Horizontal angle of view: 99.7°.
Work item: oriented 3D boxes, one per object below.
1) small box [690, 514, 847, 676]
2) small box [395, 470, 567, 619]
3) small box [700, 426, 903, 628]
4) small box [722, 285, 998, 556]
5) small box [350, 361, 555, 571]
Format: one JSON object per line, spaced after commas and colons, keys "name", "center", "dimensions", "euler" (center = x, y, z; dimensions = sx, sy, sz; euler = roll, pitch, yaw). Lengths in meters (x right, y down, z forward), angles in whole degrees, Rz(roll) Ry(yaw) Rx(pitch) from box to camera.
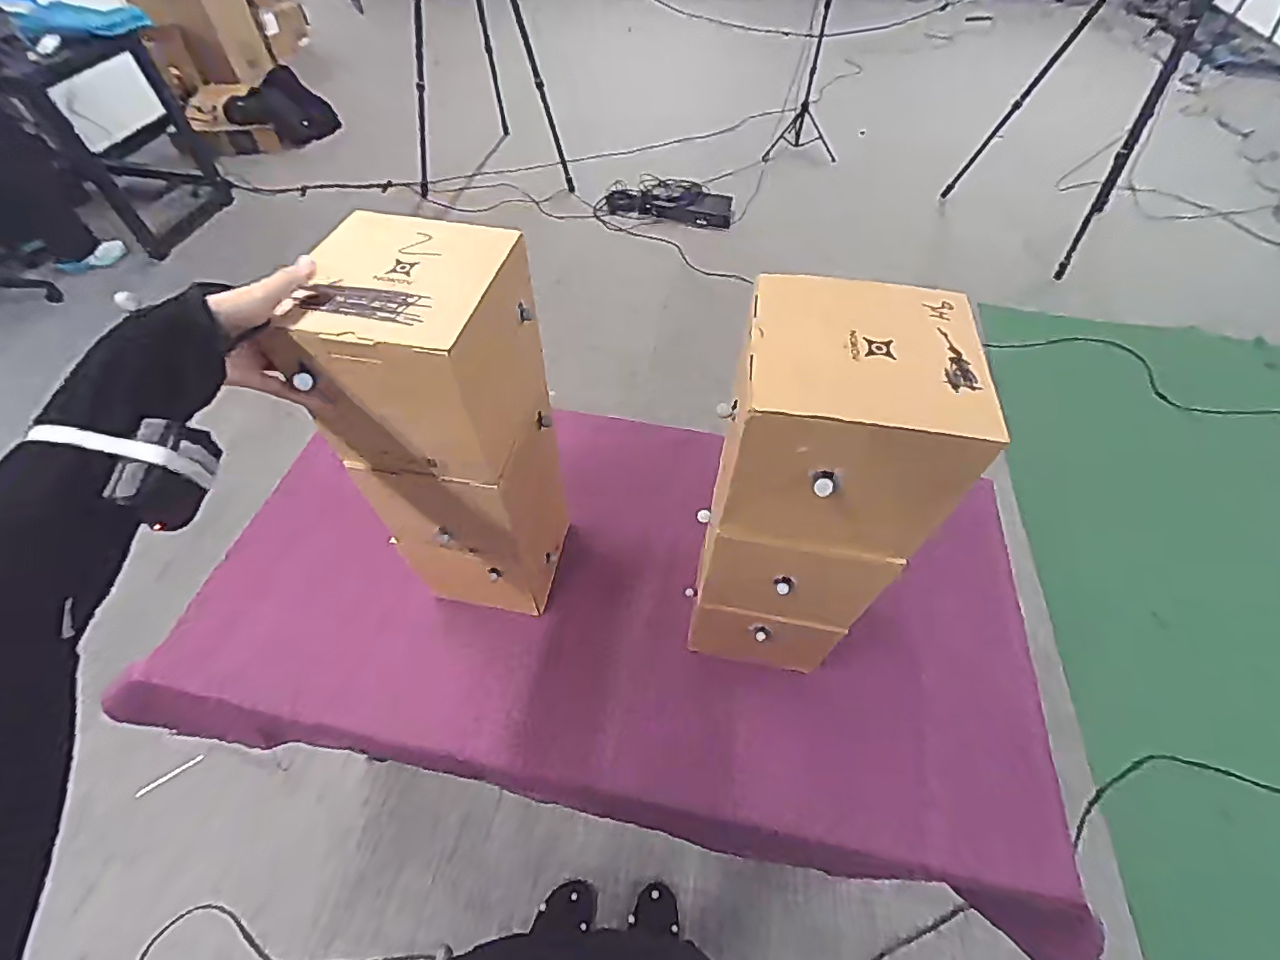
{"name": "small box", "center": [0.168, 0.152, 0.741], "dimensions": [0.179, 0.176, 0.168], "euler": [10, 54, 6]}
{"name": "small box", "center": [-0.215, 0.086, 0.787], "dimensions": [0.179, 0.176, 0.168], "euler": [8, 53, 5]}
{"name": "small box", "center": [0.170, 0.052, 0.610], "dimensions": [0.179, 0.176, 0.168], "euler": [8, 54, 7]}
{"name": "small box", "center": [0.170, -0.048, 0.481], "dimensions": [0.179, 0.176, 0.168], "euler": [7, 54, 6]}
{"name": "small box", "center": [-0.206, -0.015, 0.656], "dimensions": [0.168, 0.176, 0.179], "euler": [8, 53, 5]}
